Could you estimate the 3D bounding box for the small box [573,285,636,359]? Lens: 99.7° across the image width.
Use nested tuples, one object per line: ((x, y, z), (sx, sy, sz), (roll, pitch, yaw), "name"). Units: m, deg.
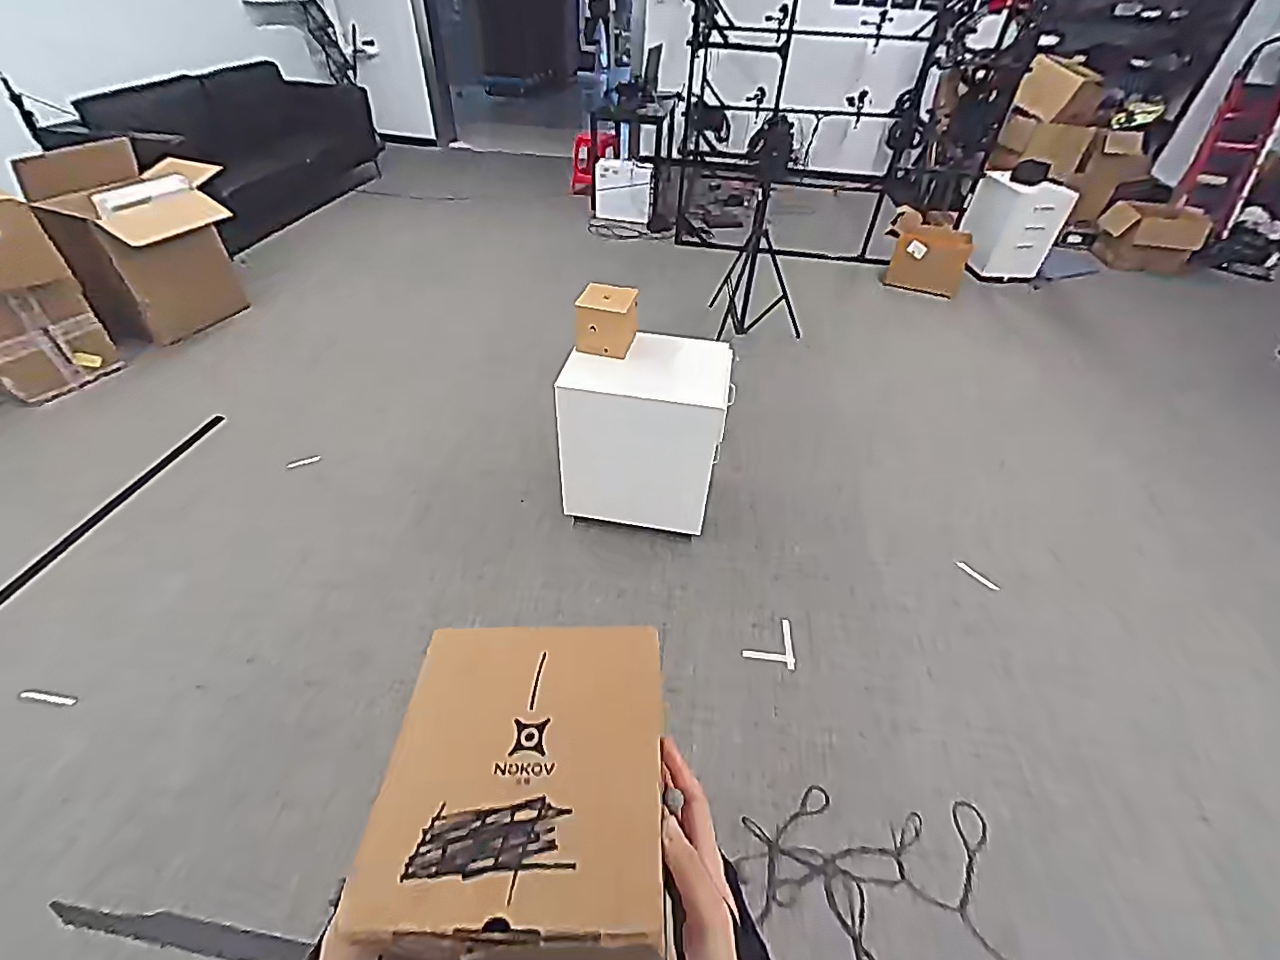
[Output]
((-0.112, -0.513, 1.761), (0.168, 0.176, 0.179), (11, 43, 7), "small box")
